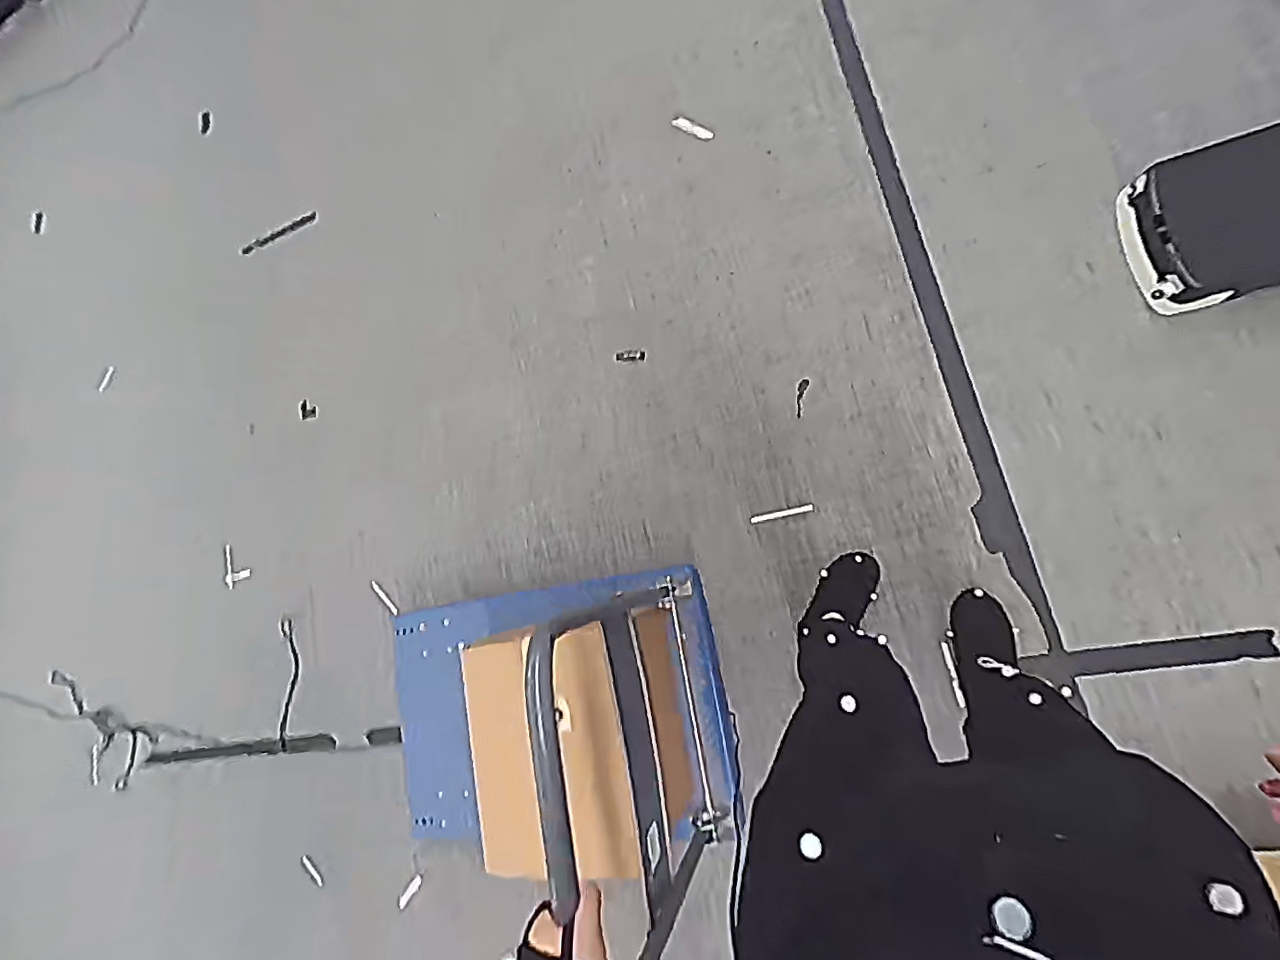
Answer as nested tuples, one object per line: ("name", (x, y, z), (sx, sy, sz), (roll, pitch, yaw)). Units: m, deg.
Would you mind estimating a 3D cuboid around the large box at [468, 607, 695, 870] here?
("large box", (-0.107, 0.497, 1.105), (0.320, 0.320, 0.408), (-13, 80, 19))
